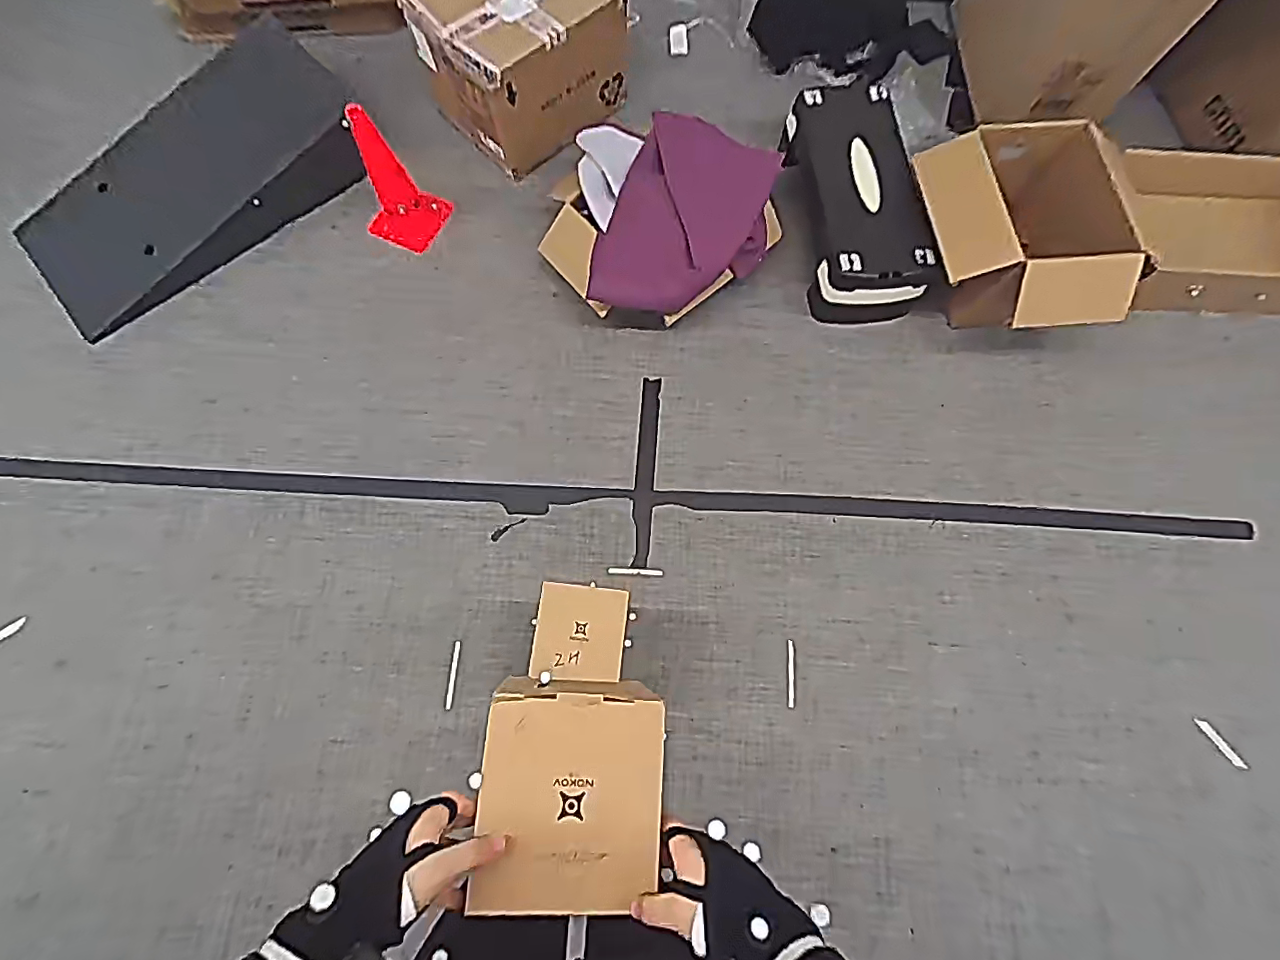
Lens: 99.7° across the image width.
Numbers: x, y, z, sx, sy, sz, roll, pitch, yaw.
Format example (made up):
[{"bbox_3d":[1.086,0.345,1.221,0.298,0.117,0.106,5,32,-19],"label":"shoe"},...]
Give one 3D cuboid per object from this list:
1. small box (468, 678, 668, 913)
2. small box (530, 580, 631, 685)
[{"bbox_3d":[-0.071,0.307,0.562,0.168,0.176,0.179,6,75,-6],"label":"small box"},{"bbox_3d":[-0.110,0.302,1.067,0.168,0.176,0.179,7,74,1],"label":"small box"}]
